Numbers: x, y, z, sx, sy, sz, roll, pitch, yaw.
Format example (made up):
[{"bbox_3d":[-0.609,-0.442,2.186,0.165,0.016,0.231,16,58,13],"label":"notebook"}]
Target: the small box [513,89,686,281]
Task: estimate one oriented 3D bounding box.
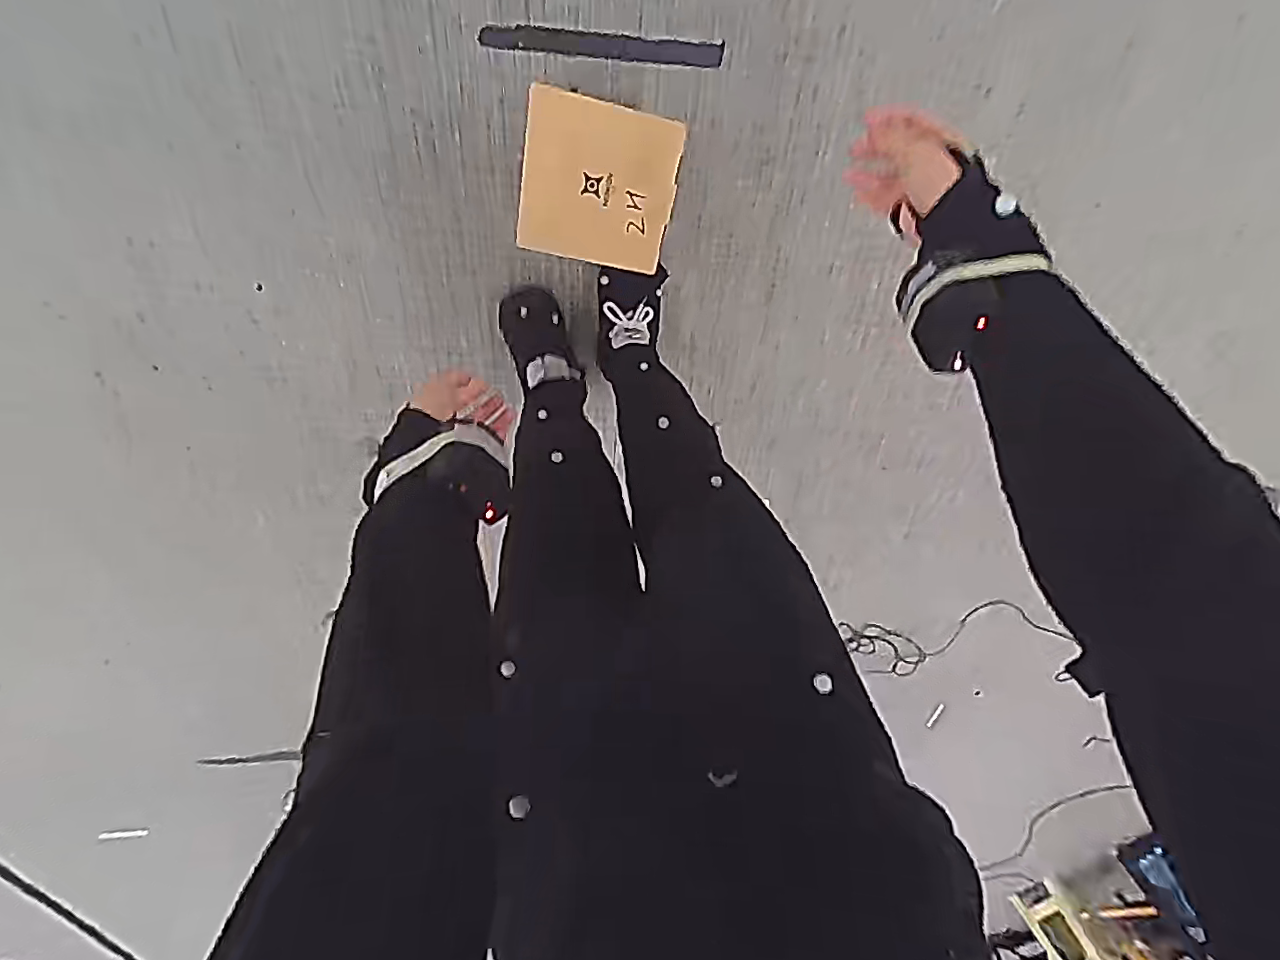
[{"bbox_3d":[-0.059,-0.374,0.688,0.179,0.176,0.168,7,124,-13],"label":"small box"}]
